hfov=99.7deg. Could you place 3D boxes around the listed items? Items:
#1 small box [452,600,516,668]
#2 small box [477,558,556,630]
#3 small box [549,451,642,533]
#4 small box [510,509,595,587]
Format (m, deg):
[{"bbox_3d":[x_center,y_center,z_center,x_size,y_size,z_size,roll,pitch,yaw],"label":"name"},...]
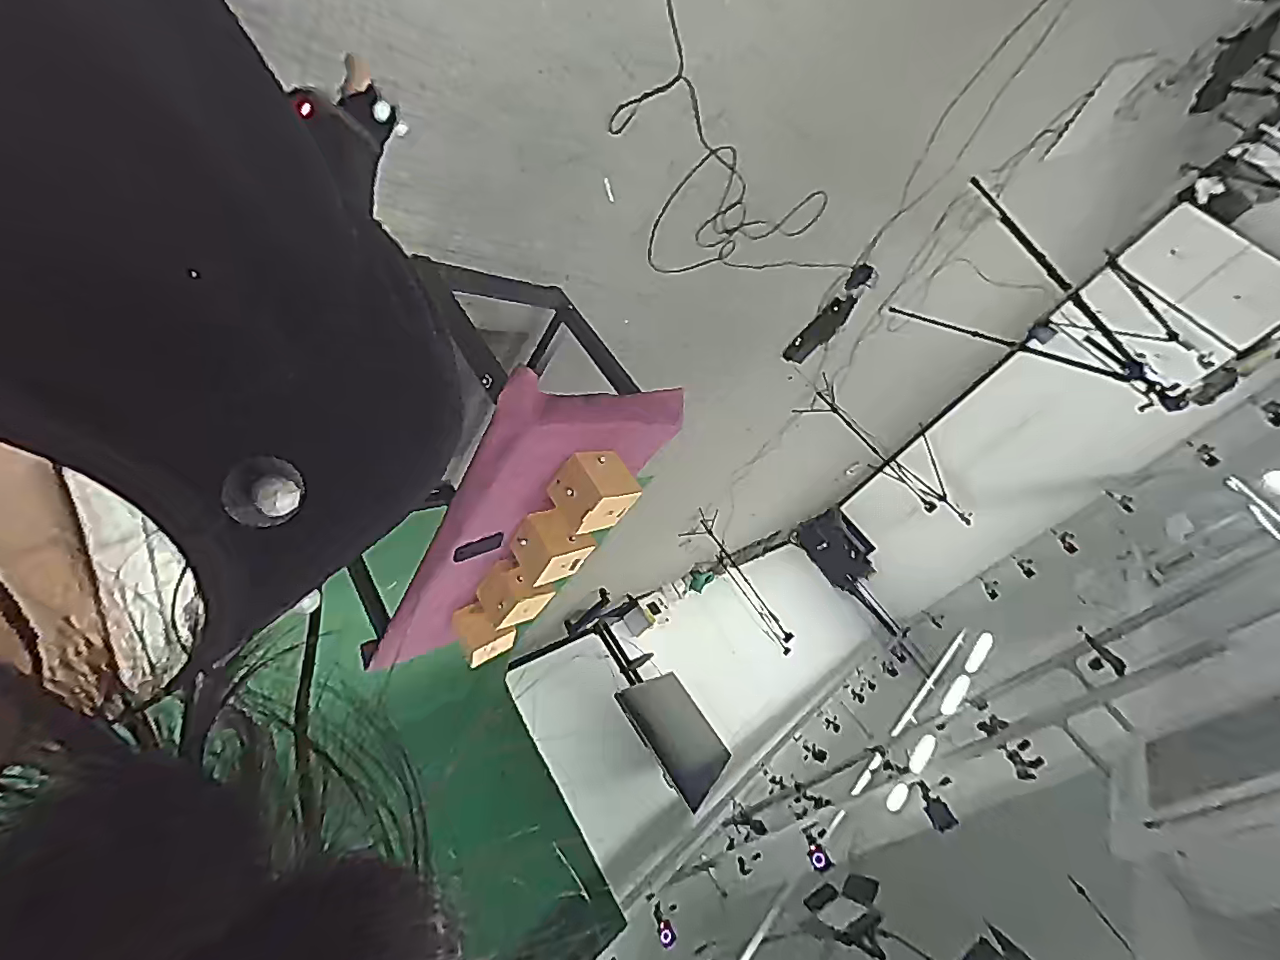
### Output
[{"bbox_3d":[-0.572,0.546,1.971,0.168,0.176,0.179,-22,155,-32],"label":"small box"},{"bbox_3d":[-0.427,0.376,1.842,0.168,0.176,0.179,-4,142,-52],"label":"small box"},{"bbox_3d":[-0.135,0.029,1.571,0.179,0.176,0.168,-6,144,-50],"label":"small box"},{"bbox_3d":[-0.280,0.206,1.713,0.179,0.176,0.168,-11,147,-46],"label":"small box"}]
